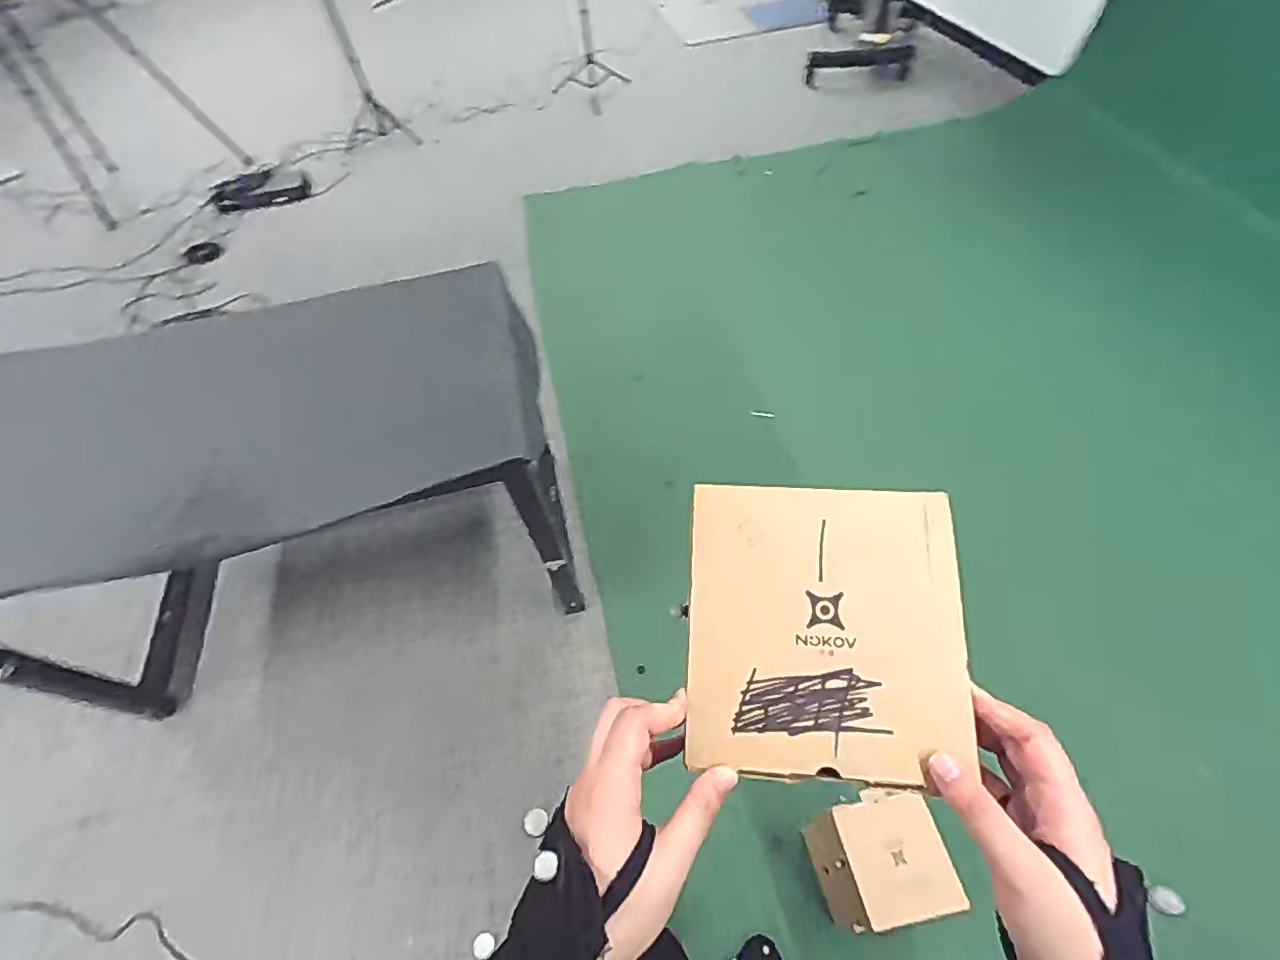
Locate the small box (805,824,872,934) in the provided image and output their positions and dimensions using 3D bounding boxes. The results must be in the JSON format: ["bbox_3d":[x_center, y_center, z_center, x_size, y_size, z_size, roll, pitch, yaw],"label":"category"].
[{"bbox_3d":[0.452,0.781,1.094,0.168,0.176,0.179,-14,56,-3],"label":"small box"}]

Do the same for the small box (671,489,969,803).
[{"bbox_3d":[0.111,0.115,0.403,0.168,0.176,0.179,2,72,5],"label":"small box"}]

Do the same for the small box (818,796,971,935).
[{"bbox_3d":[0.437,0.679,0.968,0.168,0.176,0.179,-12,56,-2],"label":"small box"}]
